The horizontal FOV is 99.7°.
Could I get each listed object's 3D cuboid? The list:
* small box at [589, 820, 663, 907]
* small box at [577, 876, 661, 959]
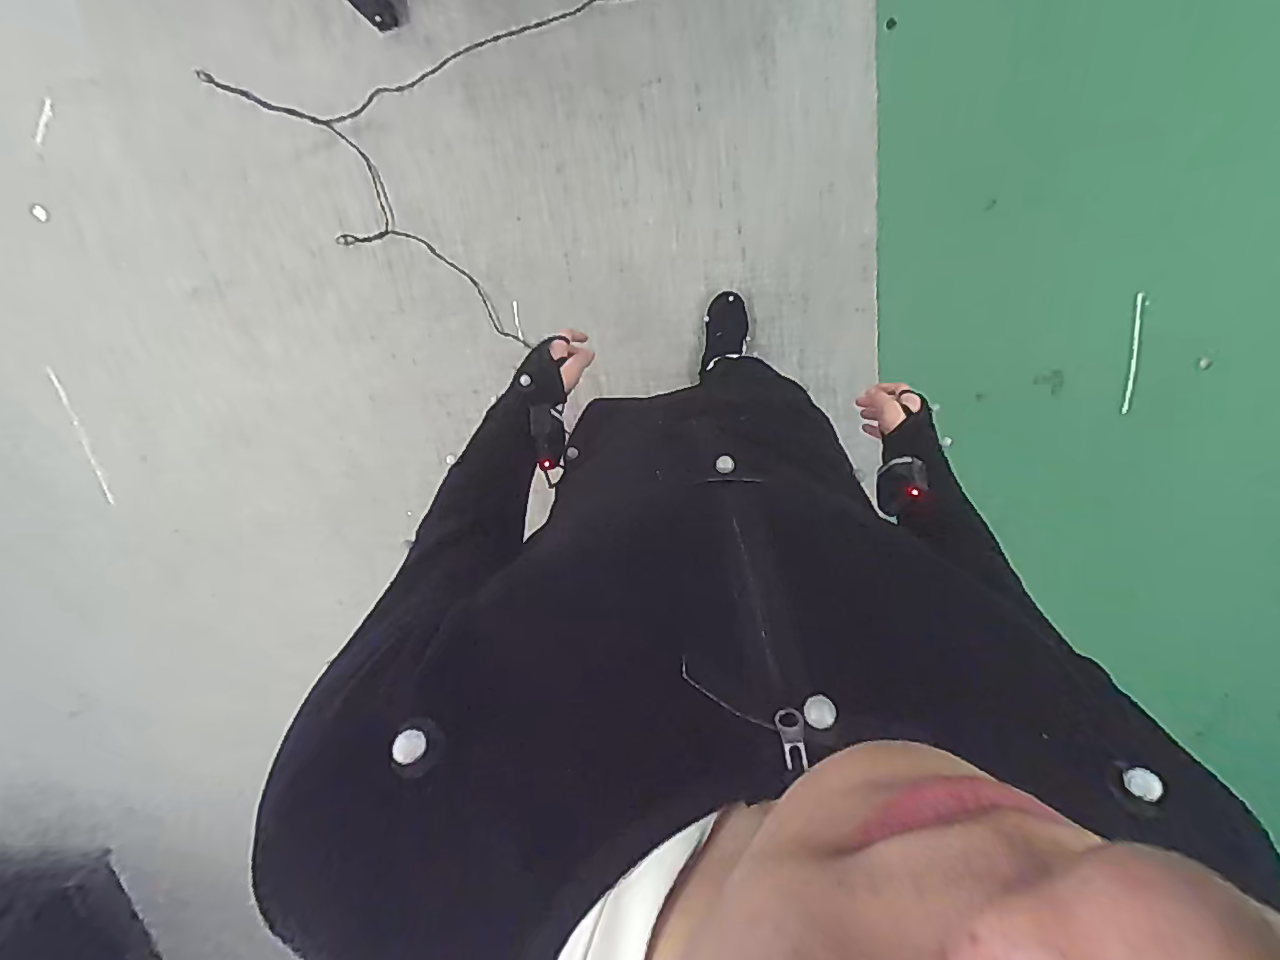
[{"bbox_3d":[-0.032,1.064,1.480,0.179,0.176,0.168,-4,107,6],"label":"small box"},{"bbox_3d":[-0.044,1.110,1.323,0.179,0.176,0.168,-6,107,5],"label":"small box"}]
